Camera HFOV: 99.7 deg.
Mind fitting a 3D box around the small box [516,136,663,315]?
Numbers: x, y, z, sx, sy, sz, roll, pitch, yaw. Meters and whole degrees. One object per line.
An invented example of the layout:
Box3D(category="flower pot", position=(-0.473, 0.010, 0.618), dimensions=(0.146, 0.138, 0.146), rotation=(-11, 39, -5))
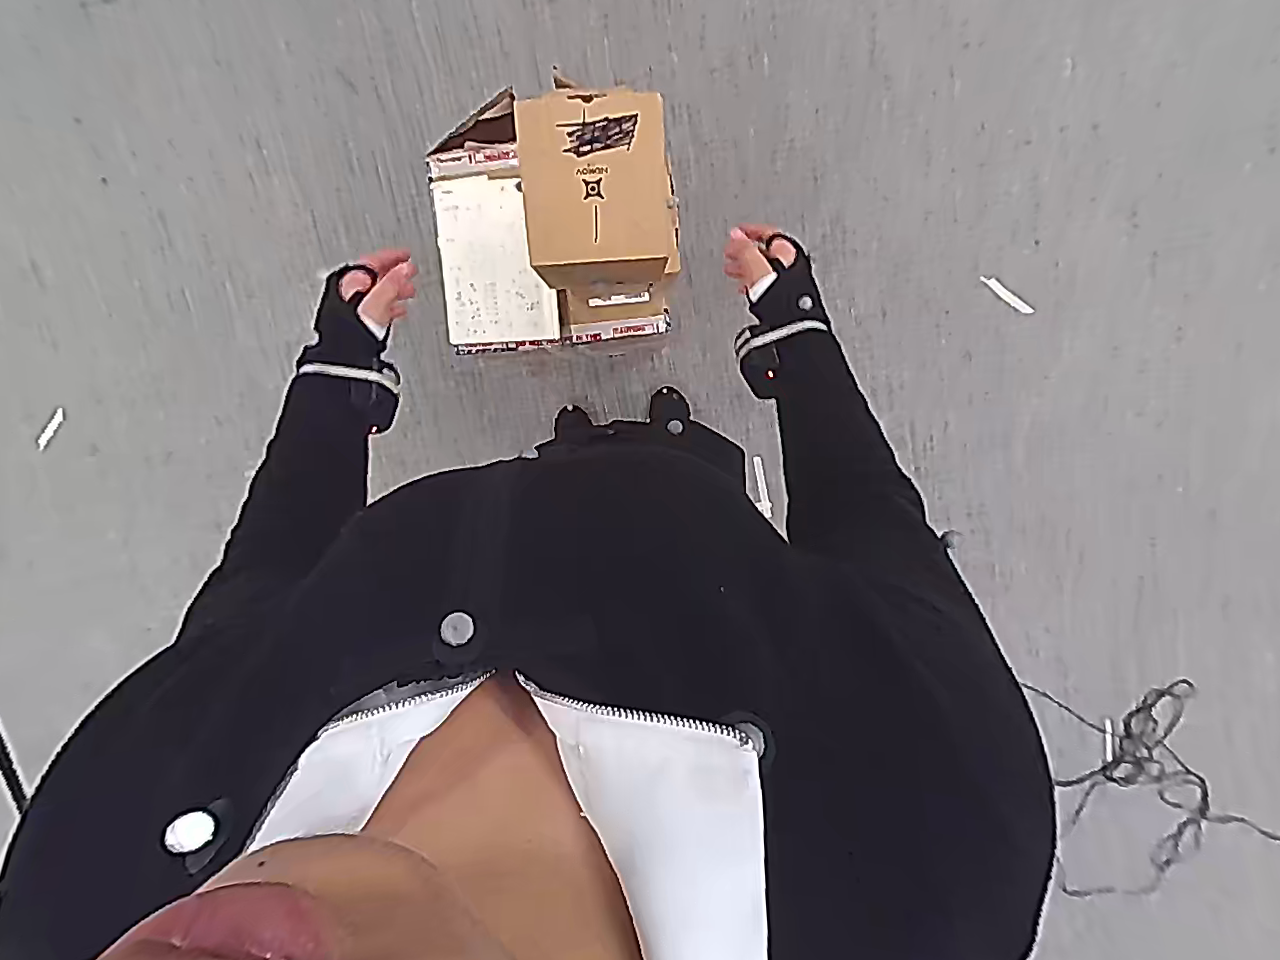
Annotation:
Box3D(category="small box", position=(-0.060, -0.319, 0.709), dimensions=(0.168, 0.176, 0.179), rotation=(-3, 101, -1))

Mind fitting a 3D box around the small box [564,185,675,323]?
Box3D(category="small box", position=(-0.045, -0.353, 0.870), dimensions=(0.179, 0.176, 0.168), rotation=(-7, 100, 1))
